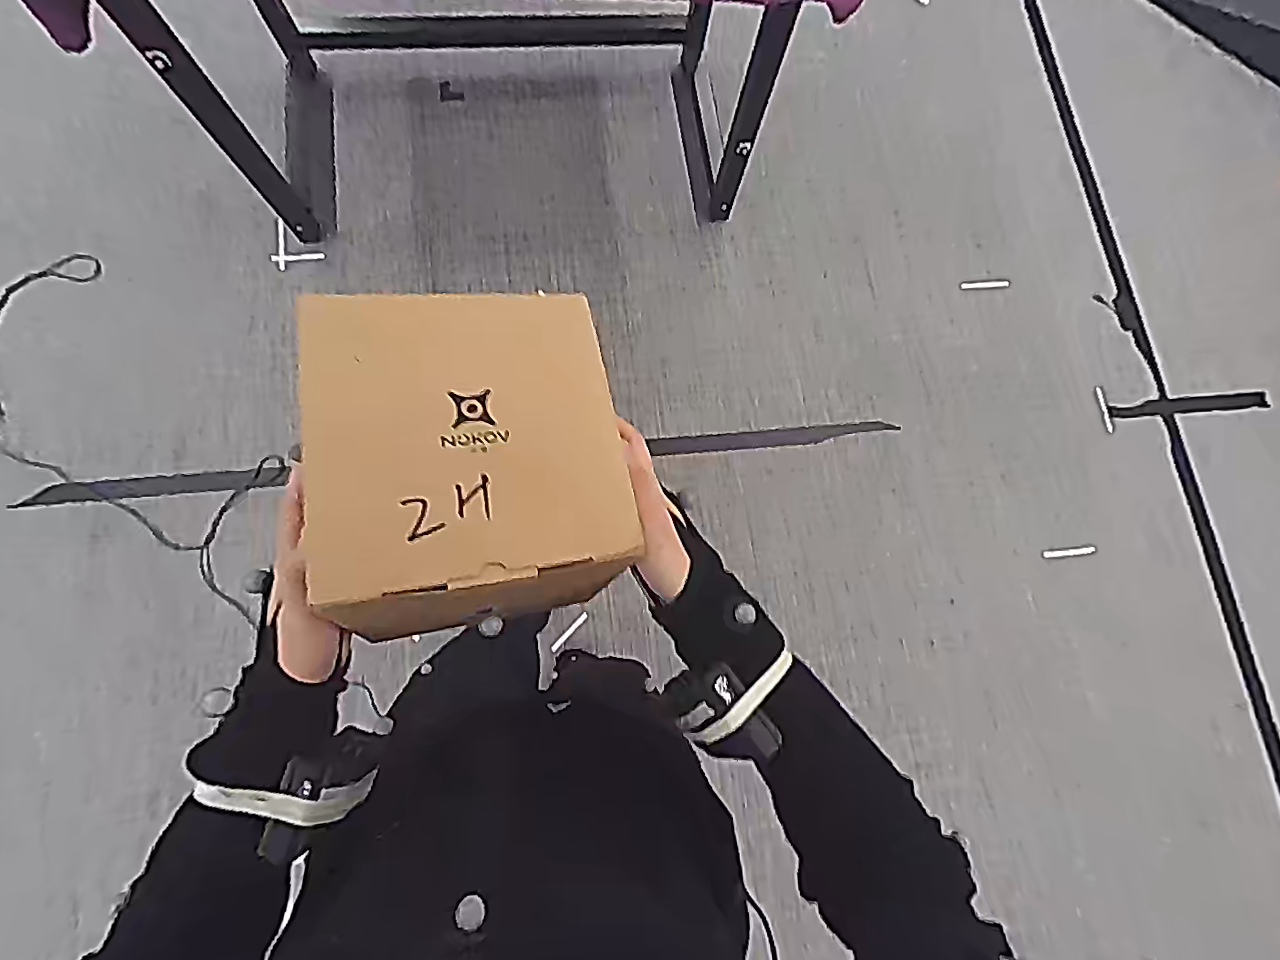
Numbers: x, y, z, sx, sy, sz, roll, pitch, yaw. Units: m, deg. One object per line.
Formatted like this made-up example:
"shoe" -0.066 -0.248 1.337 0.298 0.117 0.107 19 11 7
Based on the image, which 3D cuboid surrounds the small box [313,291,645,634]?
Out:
"small box" -0.112 -0.004 0.373 0.168 0.176 0.179 -6 70 -18
